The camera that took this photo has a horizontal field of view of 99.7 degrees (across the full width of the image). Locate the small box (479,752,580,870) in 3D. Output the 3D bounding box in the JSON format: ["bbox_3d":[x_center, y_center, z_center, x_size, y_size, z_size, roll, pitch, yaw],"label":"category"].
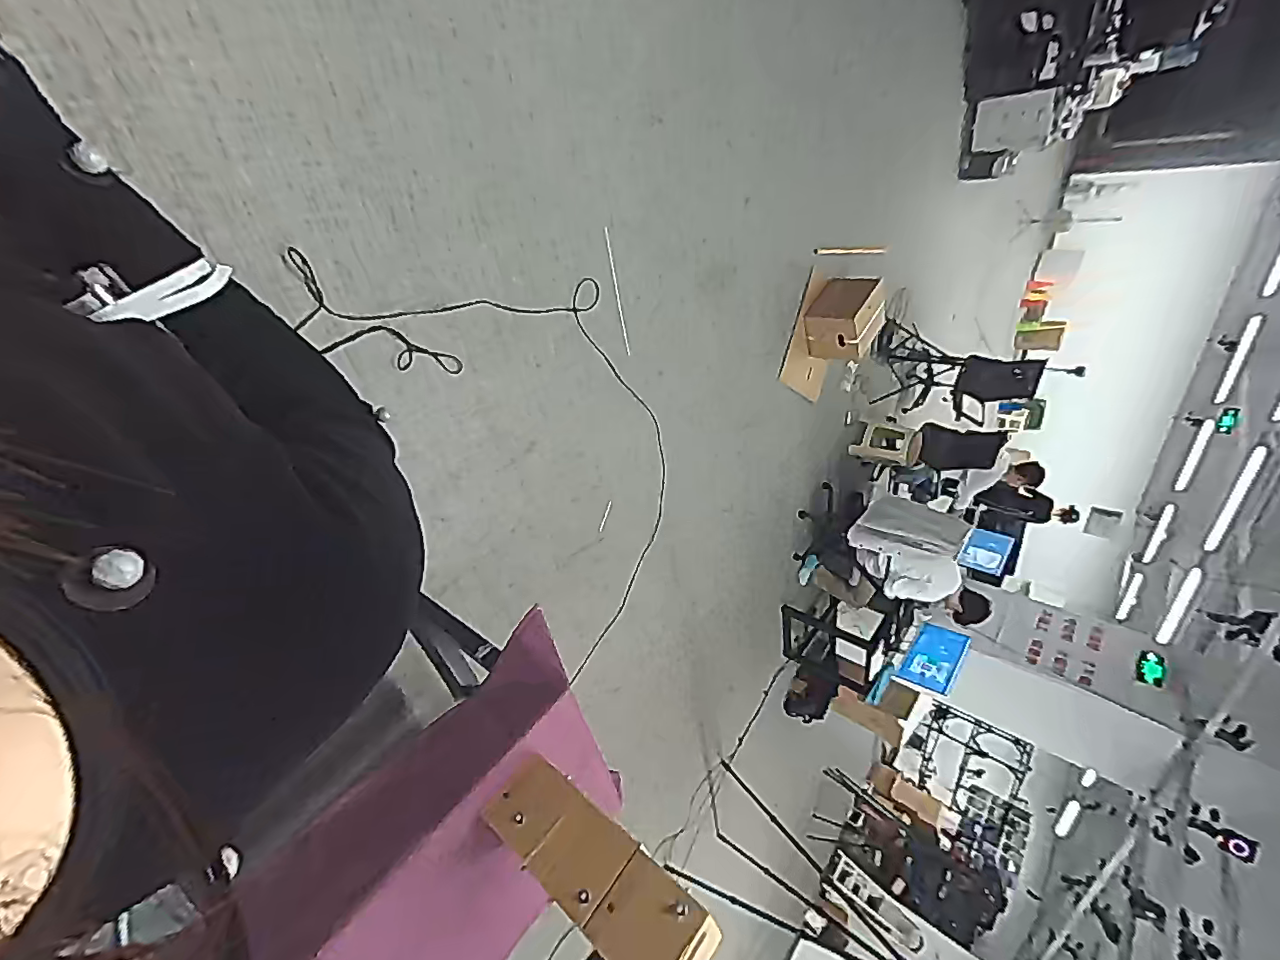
[{"bbox_3d":[-0.230,0.749,1.213,0.168,0.176,0.179,-41,134,-32],"label":"small box"}]

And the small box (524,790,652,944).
[{"bbox_3d":[-0.105,0.789,1.118,0.179,0.176,0.168,-42,134,-30],"label":"small box"}]
